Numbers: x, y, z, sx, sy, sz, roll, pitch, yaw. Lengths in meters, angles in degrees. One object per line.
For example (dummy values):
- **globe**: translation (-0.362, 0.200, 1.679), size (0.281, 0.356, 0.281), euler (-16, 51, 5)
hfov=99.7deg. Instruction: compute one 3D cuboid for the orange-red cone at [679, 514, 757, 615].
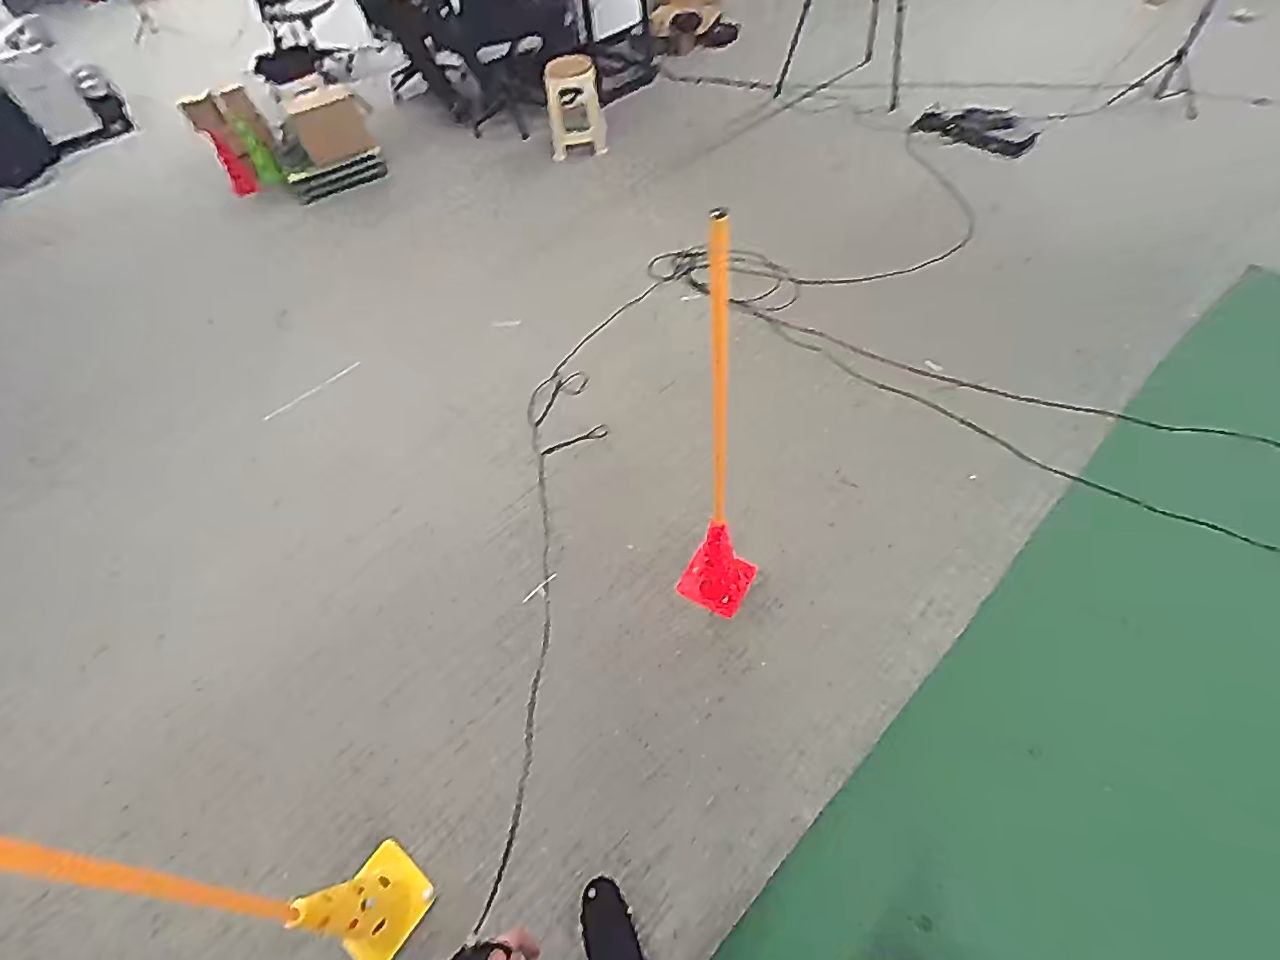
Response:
- **orange-red cone**: translation (0.231, 0.206, 1.562), size (0.198, 0.360, 0.199), euler (25, 60, 22)
